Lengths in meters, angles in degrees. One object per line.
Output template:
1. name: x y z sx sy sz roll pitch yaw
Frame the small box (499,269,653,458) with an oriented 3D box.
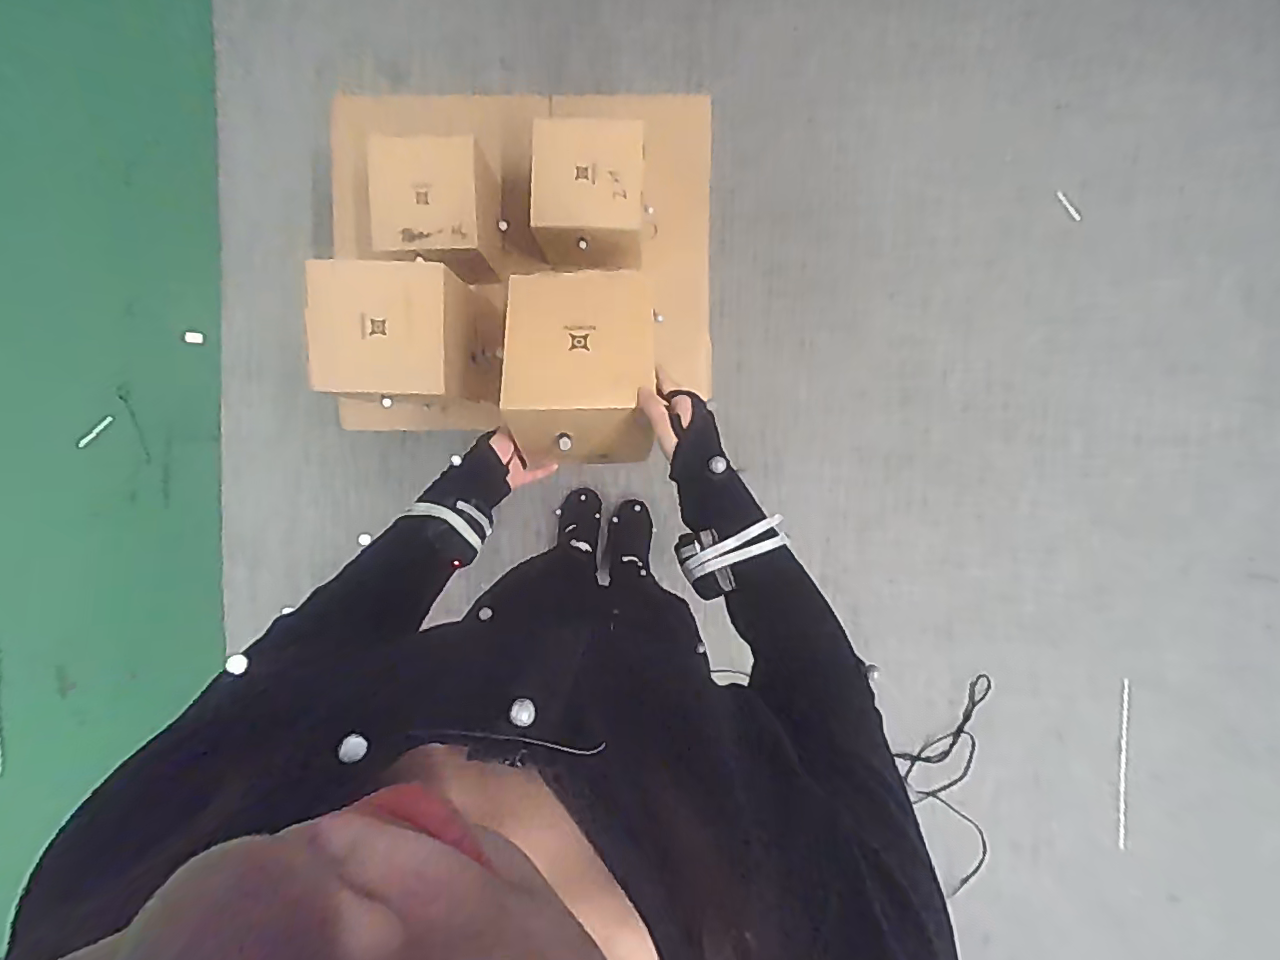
1. small box: -0.068 -0.133 0.669 0.168 0.176 0.179 -1 70 -1

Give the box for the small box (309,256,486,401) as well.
1. small box: -0.330 -0.201 0.760 0.179 0.176 0.168 2 94 0

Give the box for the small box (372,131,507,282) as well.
1. small box: -0.328 -0.449 0.910 0.168 0.176 0.179 -1 92 2
